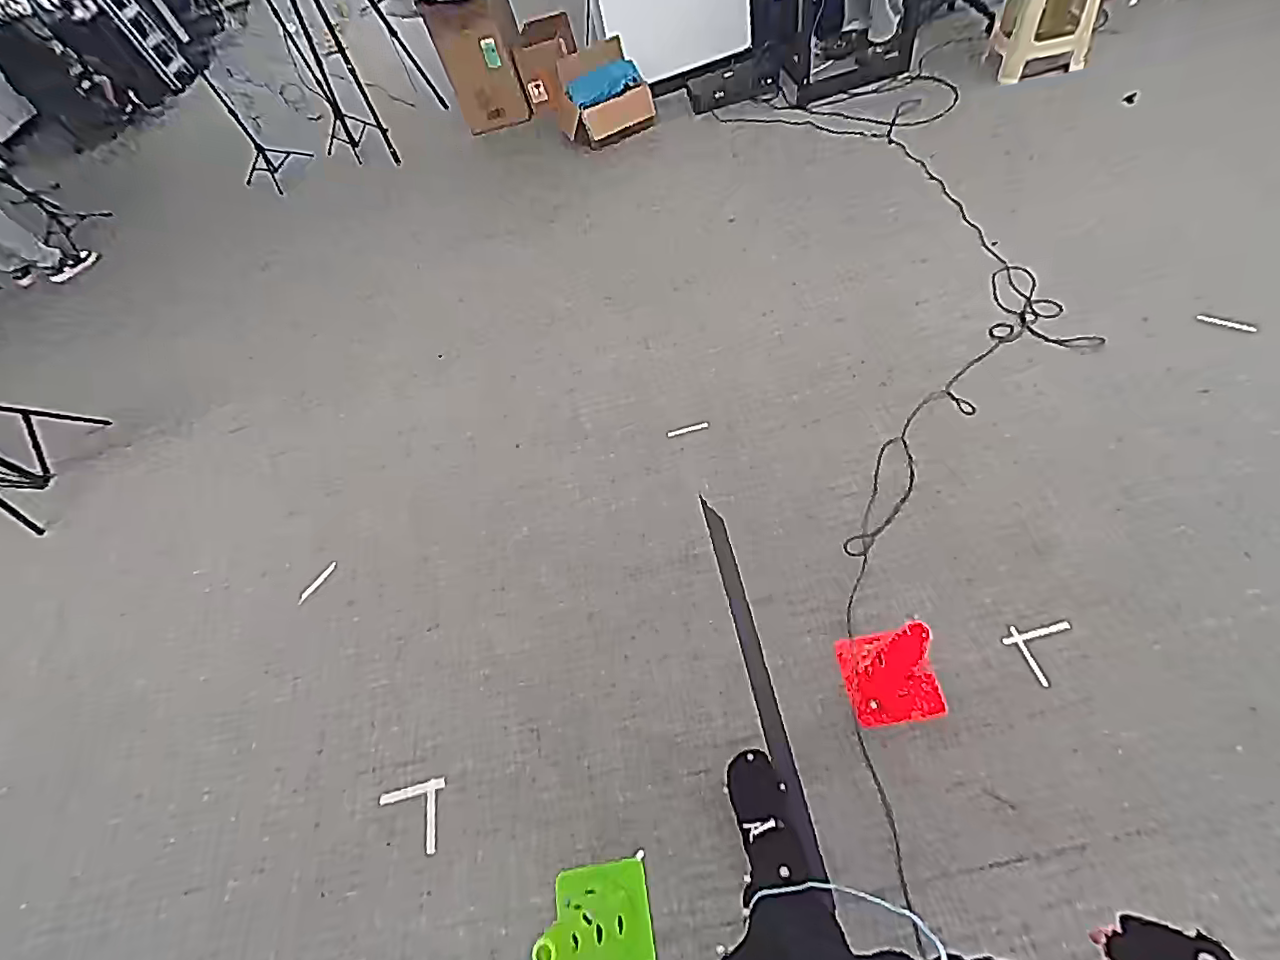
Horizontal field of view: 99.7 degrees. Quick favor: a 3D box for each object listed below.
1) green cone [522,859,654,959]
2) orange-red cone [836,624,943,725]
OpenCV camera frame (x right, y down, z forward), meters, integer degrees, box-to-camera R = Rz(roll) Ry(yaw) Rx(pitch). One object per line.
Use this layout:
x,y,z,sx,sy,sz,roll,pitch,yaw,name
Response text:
-0.118,0.827,0.982,0.202,0.368,0.200,-16,54,6,green cone
0.540,0.368,1.119,0.199,0.360,0.198,-11,56,7,orange-red cone
